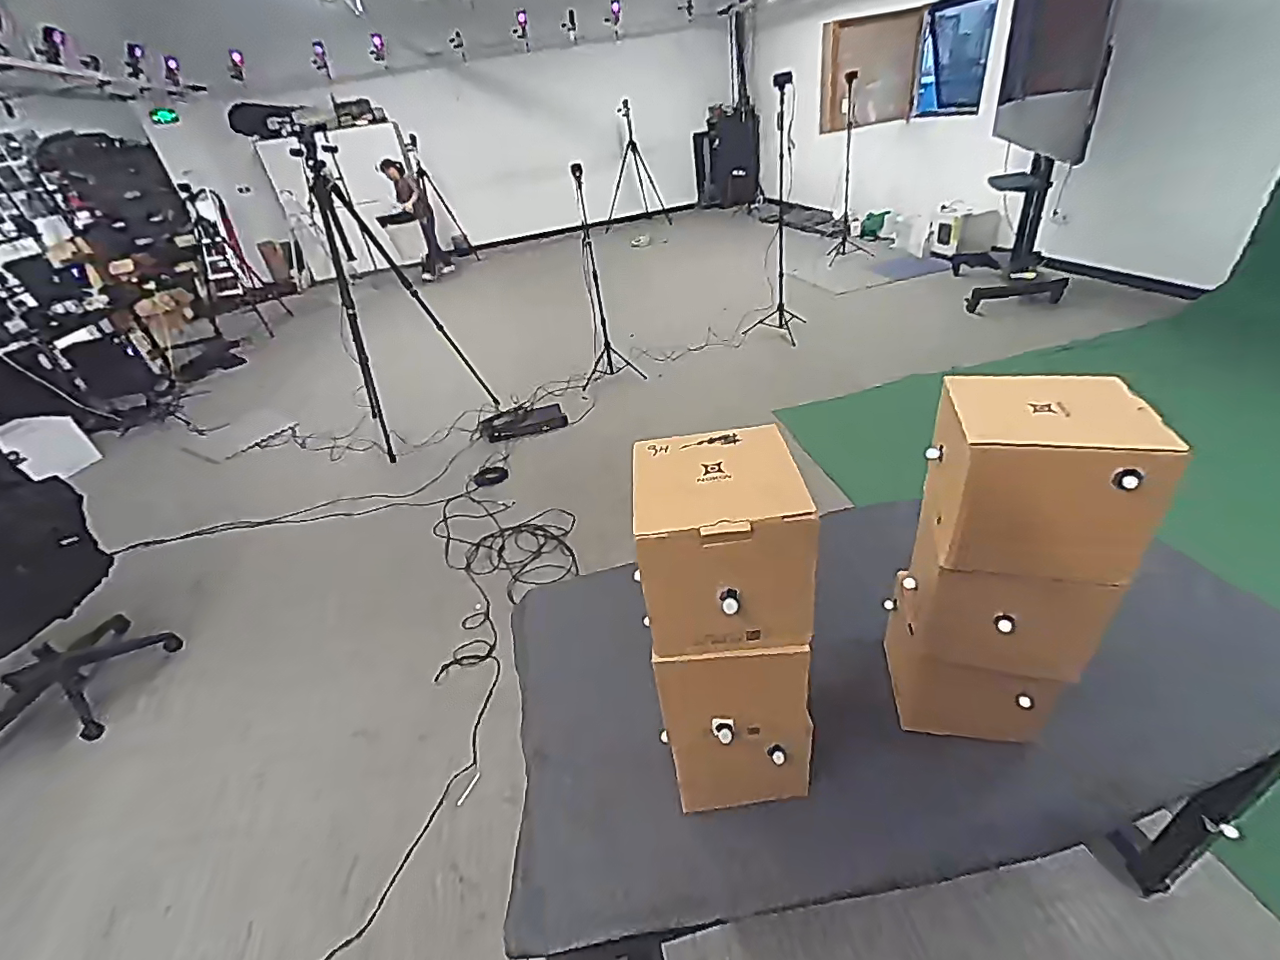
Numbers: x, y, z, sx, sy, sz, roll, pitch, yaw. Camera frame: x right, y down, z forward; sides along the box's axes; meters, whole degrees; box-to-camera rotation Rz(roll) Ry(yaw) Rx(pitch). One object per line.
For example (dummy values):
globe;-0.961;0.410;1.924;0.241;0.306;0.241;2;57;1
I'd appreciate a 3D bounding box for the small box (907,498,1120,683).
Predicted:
small box;0.453;0.132;0.691;0.179;0.176;0.168;4;35;20

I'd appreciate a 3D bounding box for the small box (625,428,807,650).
small box;0.081;0.067;0.587;0.168;0.176;0.179;-7;34;5

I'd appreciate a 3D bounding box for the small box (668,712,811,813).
small box;0.127;0.338;0.763;0.179;0.176;0.168;-9;33;1

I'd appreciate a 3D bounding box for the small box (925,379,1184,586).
small box;0.428;-0.002;0.602;0.179;0.176;0.168;4;35;18

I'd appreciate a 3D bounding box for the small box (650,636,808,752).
small box;0.104;0.206;0.672;0.168;0.176;0.179;-7;34;6
